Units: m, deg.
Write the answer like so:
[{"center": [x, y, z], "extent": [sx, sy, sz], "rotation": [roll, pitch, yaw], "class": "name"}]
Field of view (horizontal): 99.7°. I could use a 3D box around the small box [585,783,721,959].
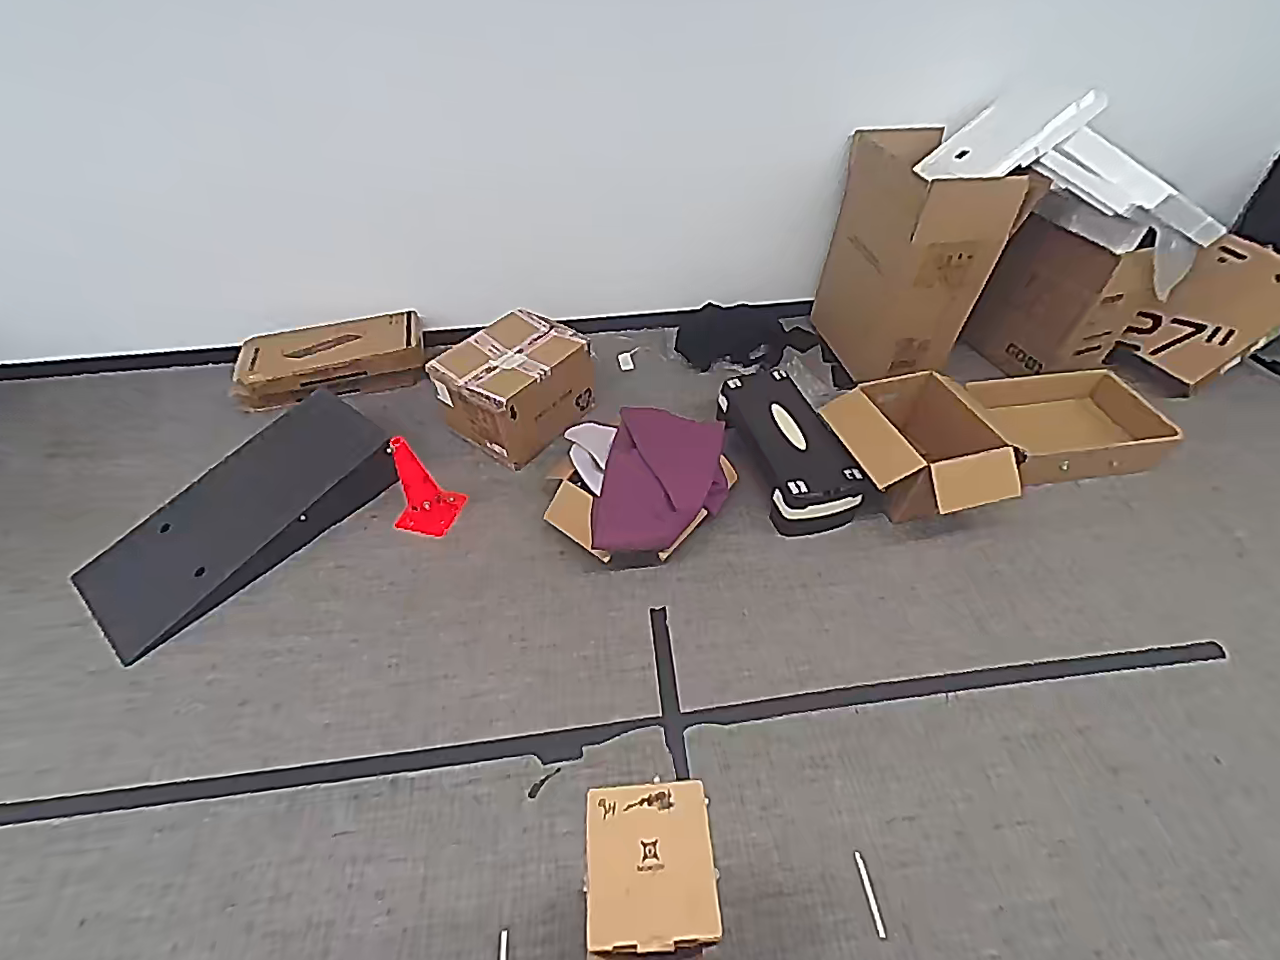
[{"center": [0.016, 0.543, 0.752], "extent": [0.168, 0.176, 0.179], "rotation": [-4, 48, -1], "class": "small box"}]
